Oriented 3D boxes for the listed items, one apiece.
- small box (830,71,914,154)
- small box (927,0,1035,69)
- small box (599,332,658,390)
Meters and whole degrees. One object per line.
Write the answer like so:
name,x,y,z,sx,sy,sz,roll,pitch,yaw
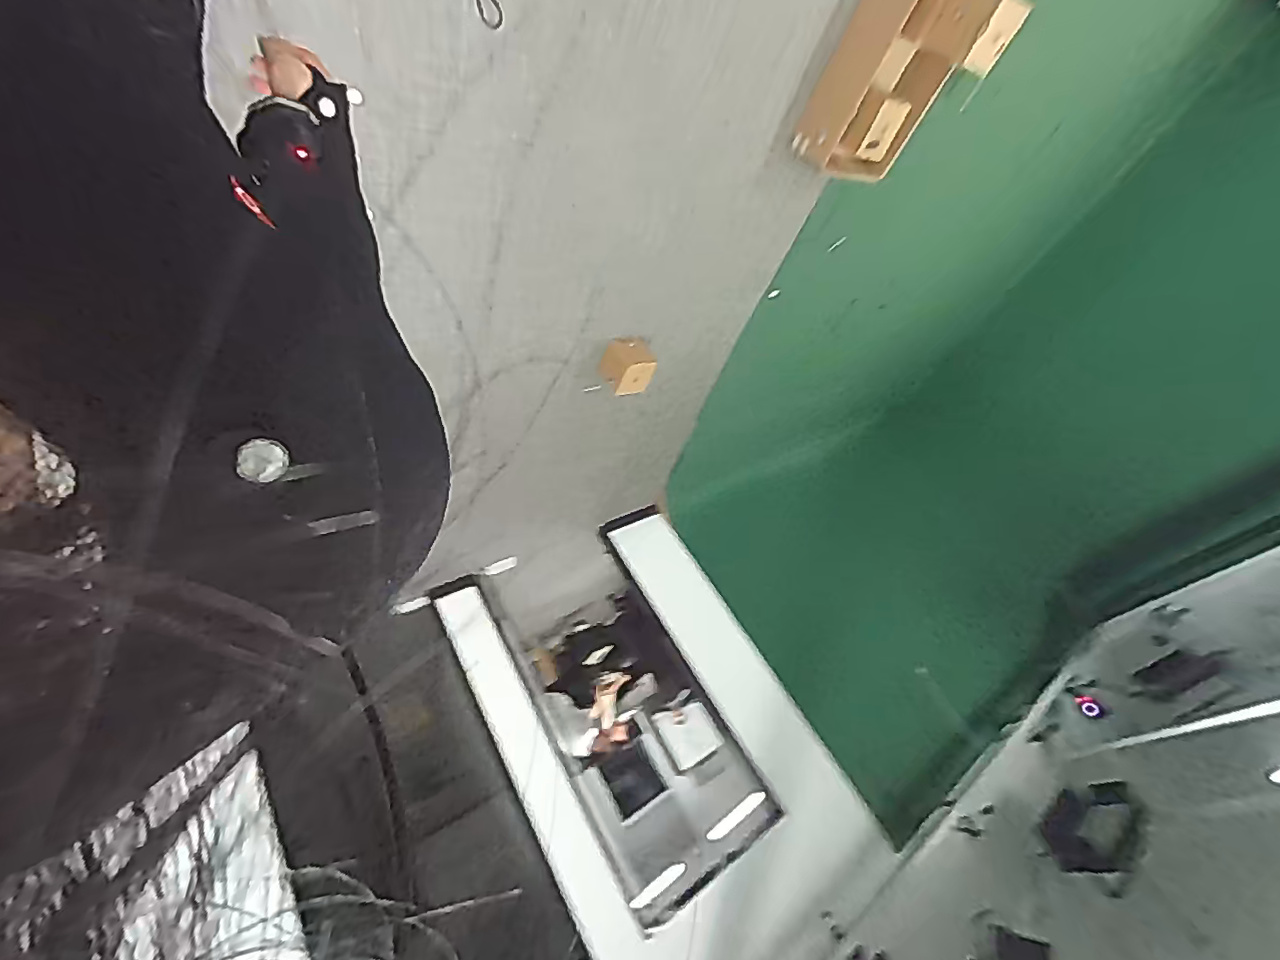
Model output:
small box,0.788,-1.265,1.863,0.168,0.176,0.179,-17,150,-33
small box,0.974,-1.334,1.559,0.179,0.176,0.168,-15,150,-35
small box,-0.056,-0.515,2.336,0.168,0.176,0.179,-16,151,-37
